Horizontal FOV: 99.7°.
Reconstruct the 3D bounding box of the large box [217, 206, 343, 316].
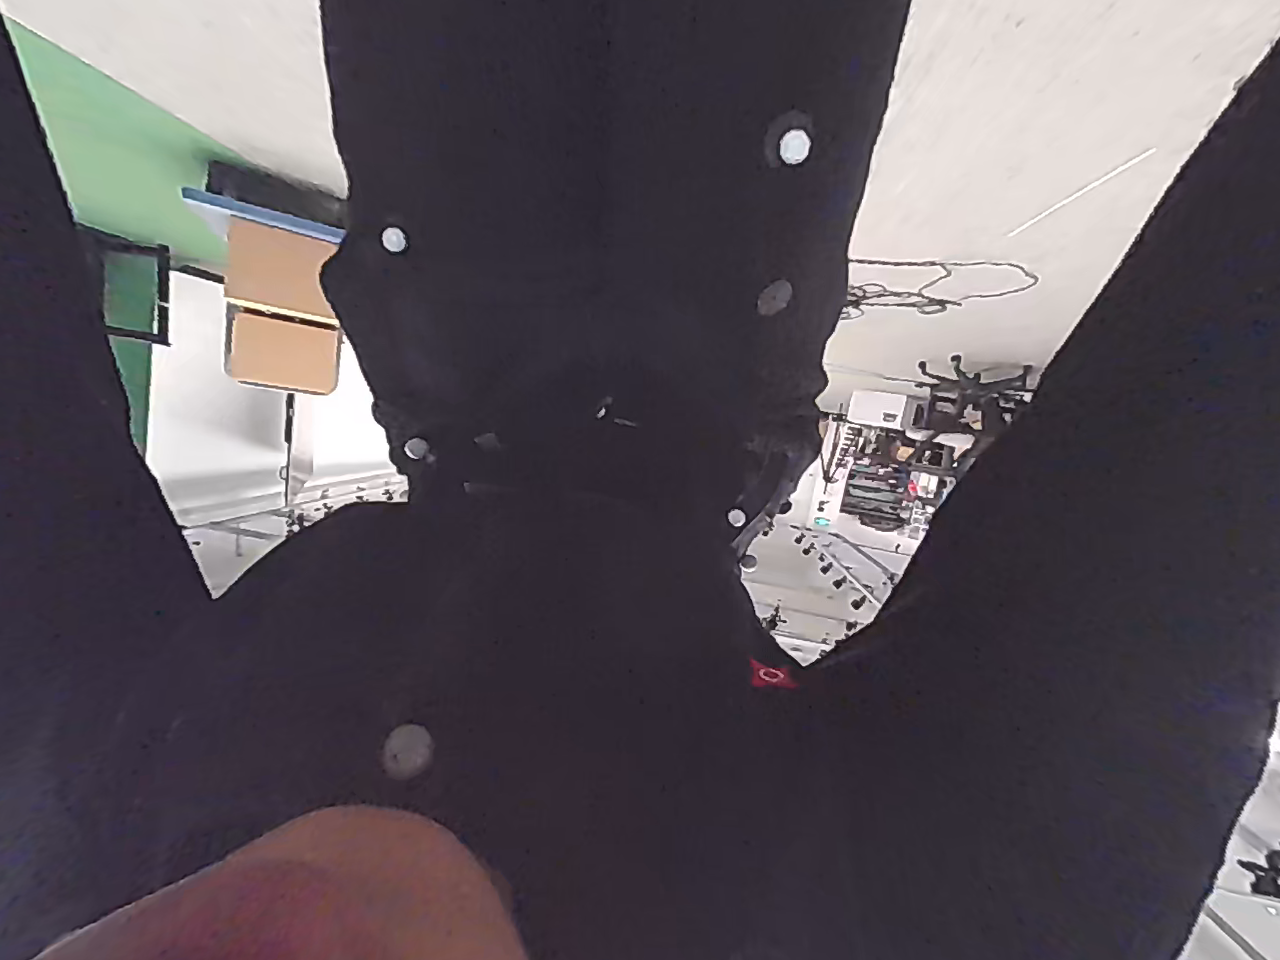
[{"bbox_3d":[-1.488,-0.895,2.260,0.408,0.320,0.320,6,-170,-33],"label":"large box"}]
